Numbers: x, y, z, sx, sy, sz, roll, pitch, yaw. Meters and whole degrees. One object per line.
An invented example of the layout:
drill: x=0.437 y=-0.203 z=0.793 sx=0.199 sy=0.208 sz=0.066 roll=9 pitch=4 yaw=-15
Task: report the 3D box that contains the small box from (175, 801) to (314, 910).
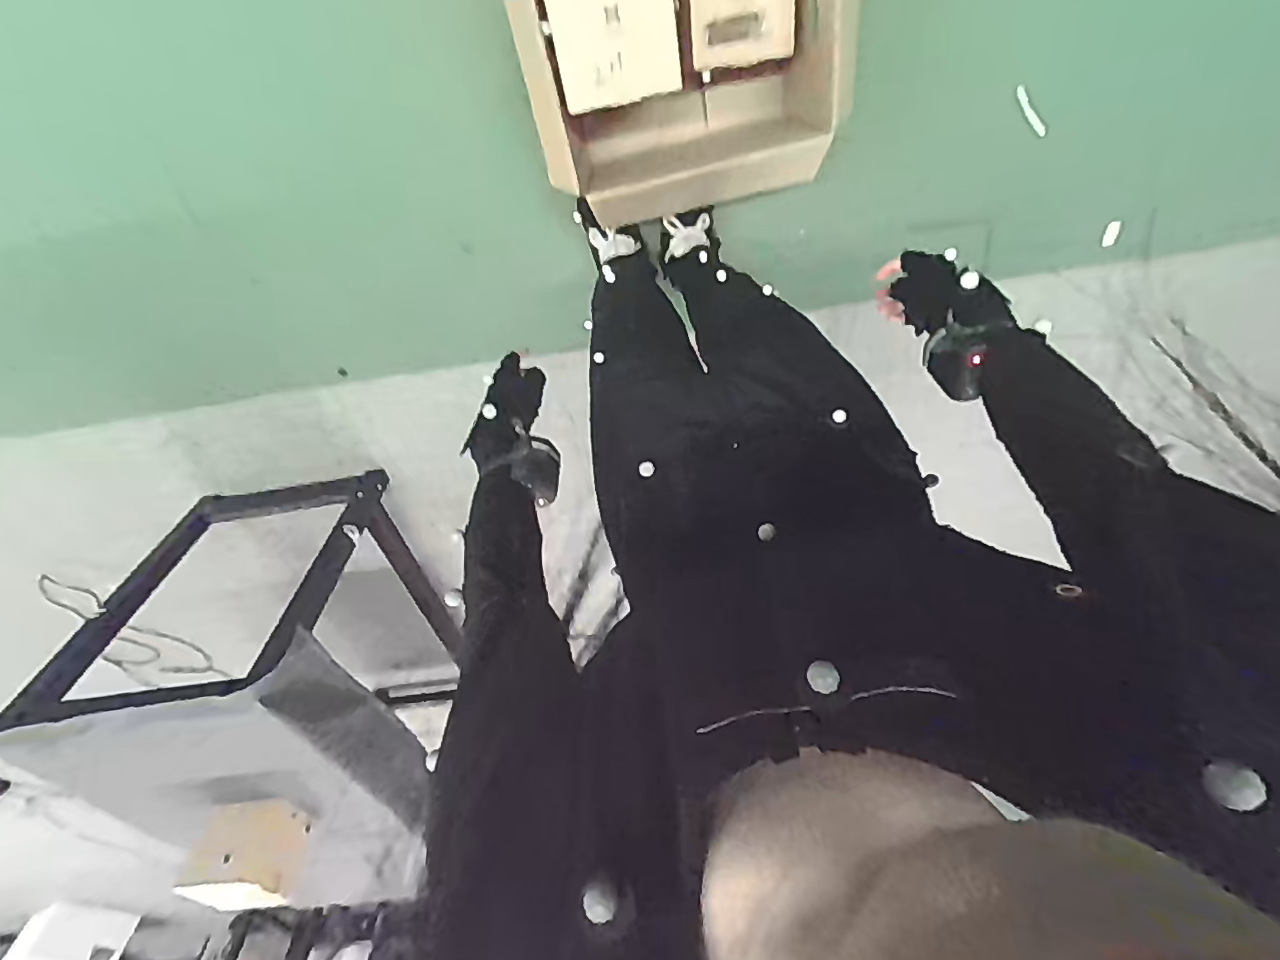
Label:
small box: x=-0.896 y=0.866 z=1.253 sx=0.179 sy=0.176 sz=0.168 roll=-8 pitch=128 yaw=6
